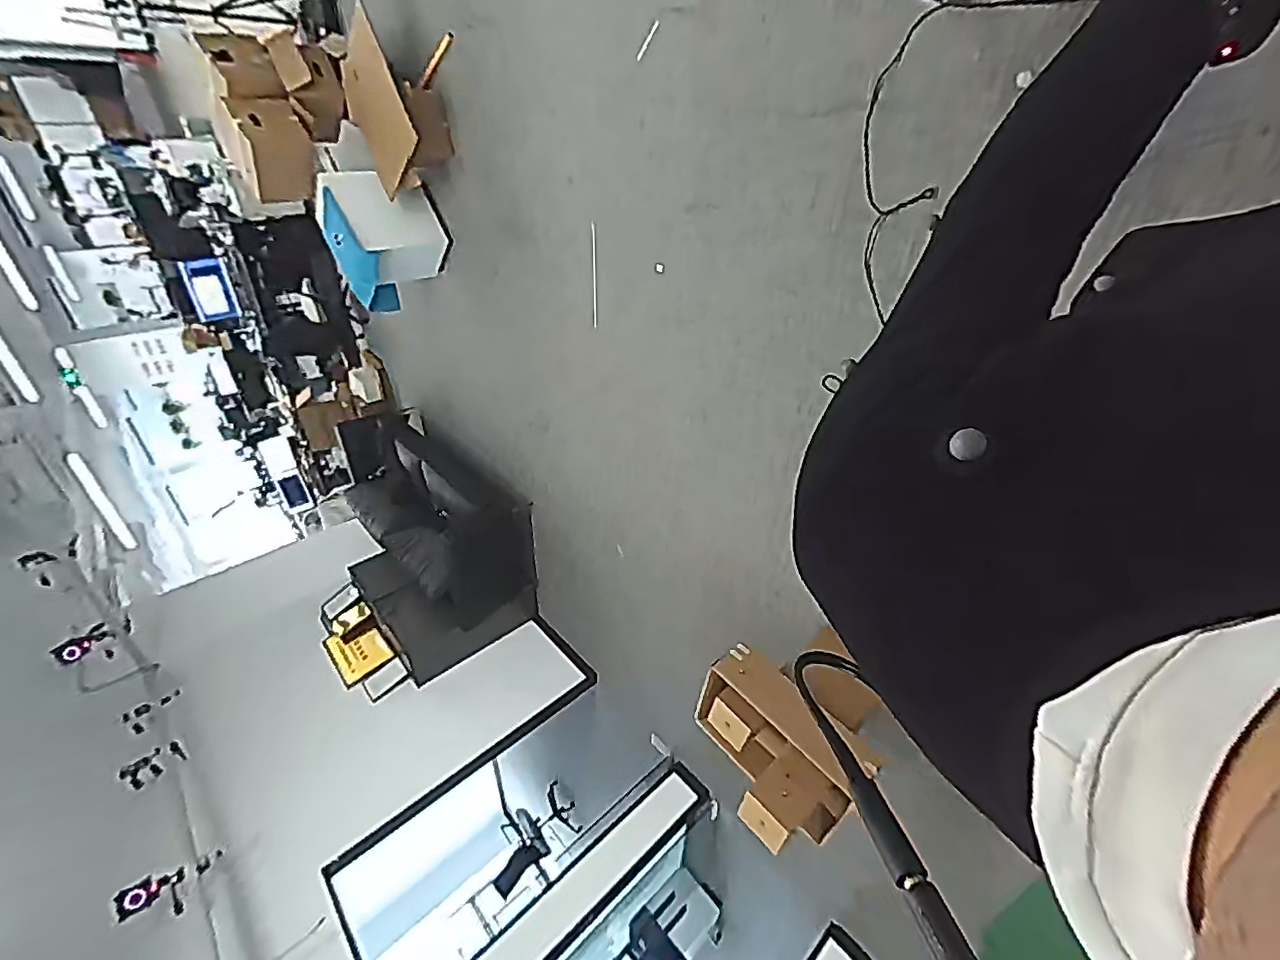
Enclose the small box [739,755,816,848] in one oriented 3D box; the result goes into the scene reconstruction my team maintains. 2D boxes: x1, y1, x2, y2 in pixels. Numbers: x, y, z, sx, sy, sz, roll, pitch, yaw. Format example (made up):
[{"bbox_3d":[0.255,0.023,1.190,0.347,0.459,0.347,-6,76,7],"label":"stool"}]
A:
[{"bbox_3d":[0.462,1.065,1.804,0.168,0.176,0.179,37,136,34],"label":"small box"}]
